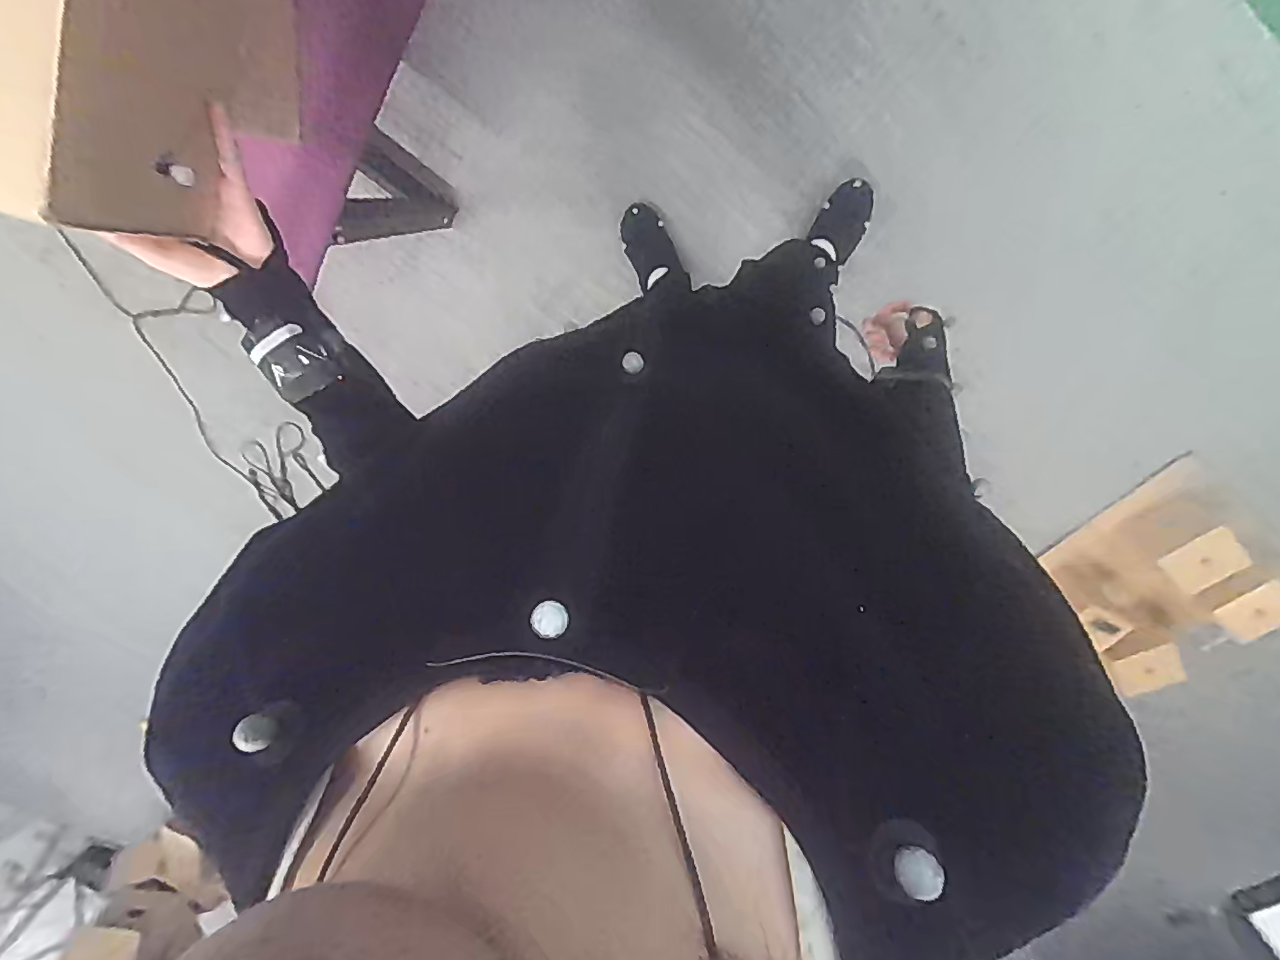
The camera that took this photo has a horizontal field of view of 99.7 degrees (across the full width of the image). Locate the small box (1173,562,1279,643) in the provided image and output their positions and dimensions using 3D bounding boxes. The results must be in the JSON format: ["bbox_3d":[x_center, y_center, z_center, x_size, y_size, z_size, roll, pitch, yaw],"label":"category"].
[{"bbox_3d":[1.687,0.318,1.538,0.179,0.176,0.168,36,115,-14],"label":"small box"}]

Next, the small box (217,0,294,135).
[{"bbox_3d":[-0.453,-0.441,0.500,0.168,0.176,0.179,14,118,-2],"label":"small box"}]

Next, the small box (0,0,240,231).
[{"bbox_3d":[-0.338,-0.249,0.275,0.168,0.179,0.176,16,106,-22],"label":"small box"}]

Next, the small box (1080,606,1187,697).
[{"bbox_3d":[1.505,0.522,1.656,0.168,0.176,0.179,-30,112,18],"label":"small box"}]

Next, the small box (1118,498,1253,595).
[{"bbox_3d":[1.476,0.172,1.476,0.179,0.176,0.168,40,115,-16],"label":"small box"}]
